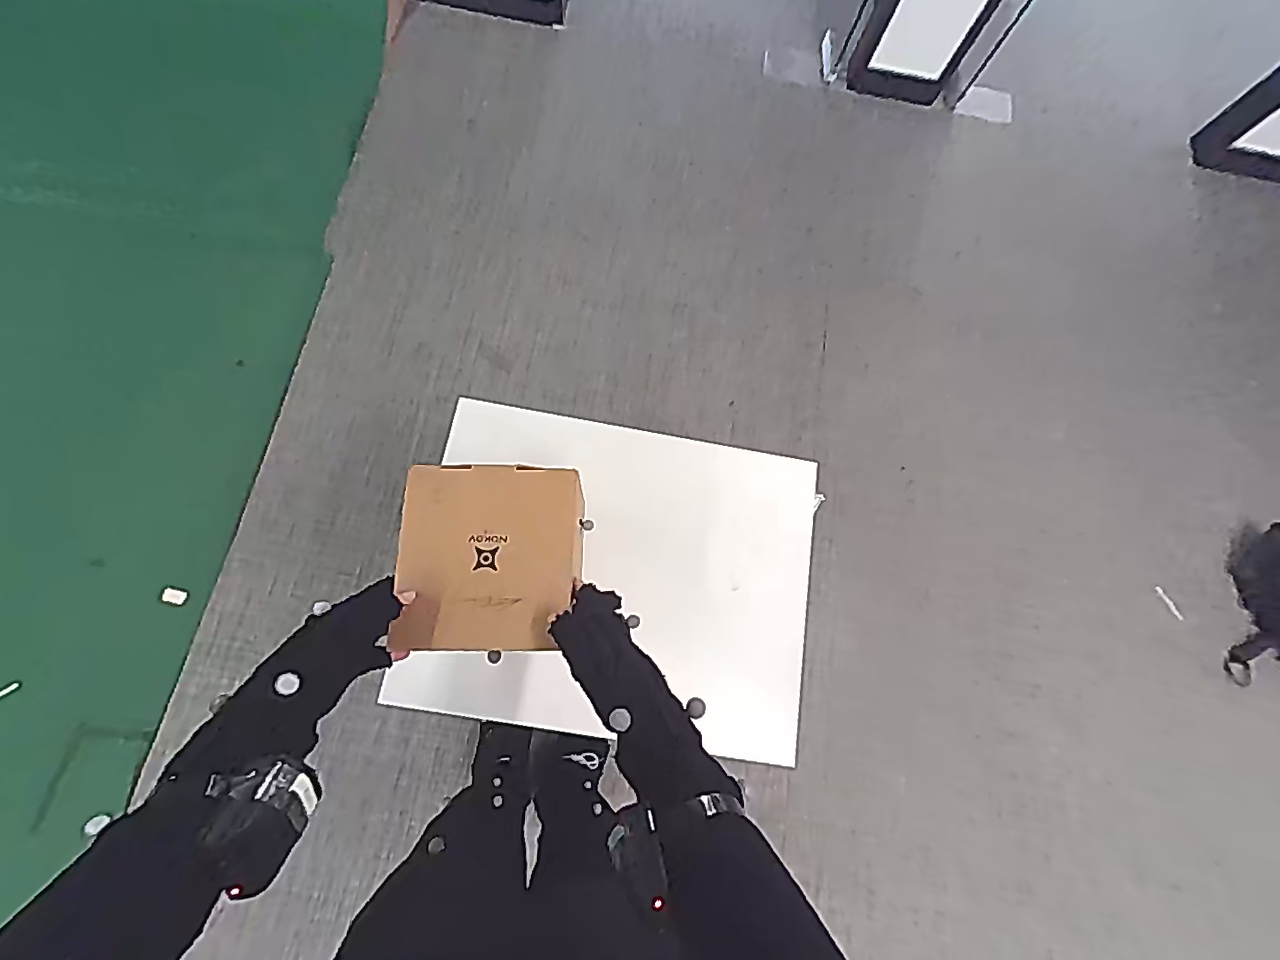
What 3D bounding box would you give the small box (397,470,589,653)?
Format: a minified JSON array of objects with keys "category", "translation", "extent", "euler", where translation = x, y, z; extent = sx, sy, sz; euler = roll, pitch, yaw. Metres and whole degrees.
[{"category":"small box","translation":[-0.145,0.095,0.596],"extent":[0.168,0.176,0.179],"euler":[-1,76,-2]}]
